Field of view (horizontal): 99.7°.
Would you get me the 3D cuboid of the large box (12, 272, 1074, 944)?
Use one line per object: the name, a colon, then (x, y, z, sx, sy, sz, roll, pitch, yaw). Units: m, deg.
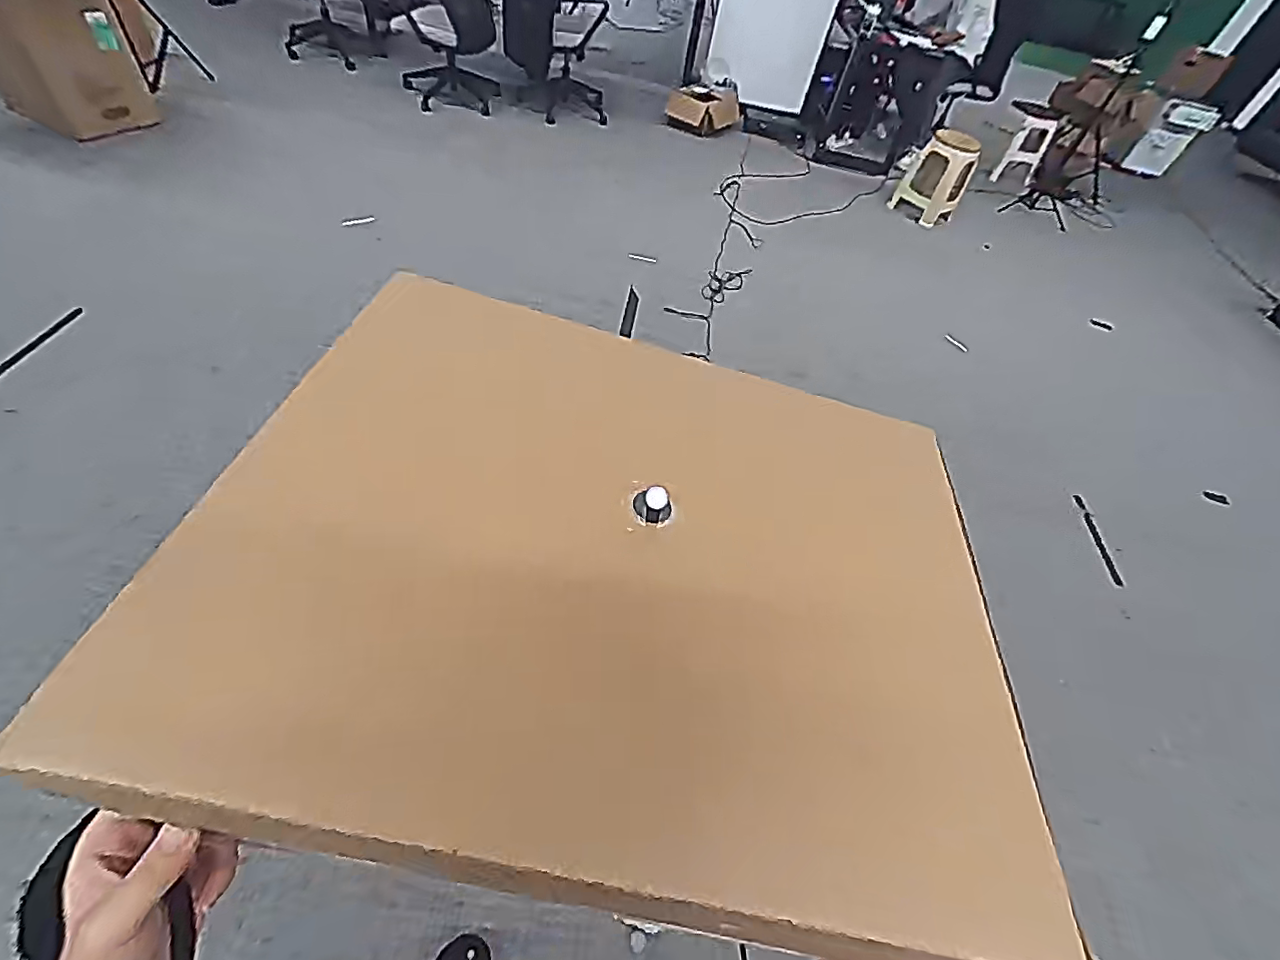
large box: (-0.035, 0.102, 0.403, 0.408, 0.320, 0.320, 15, 51, -5)
